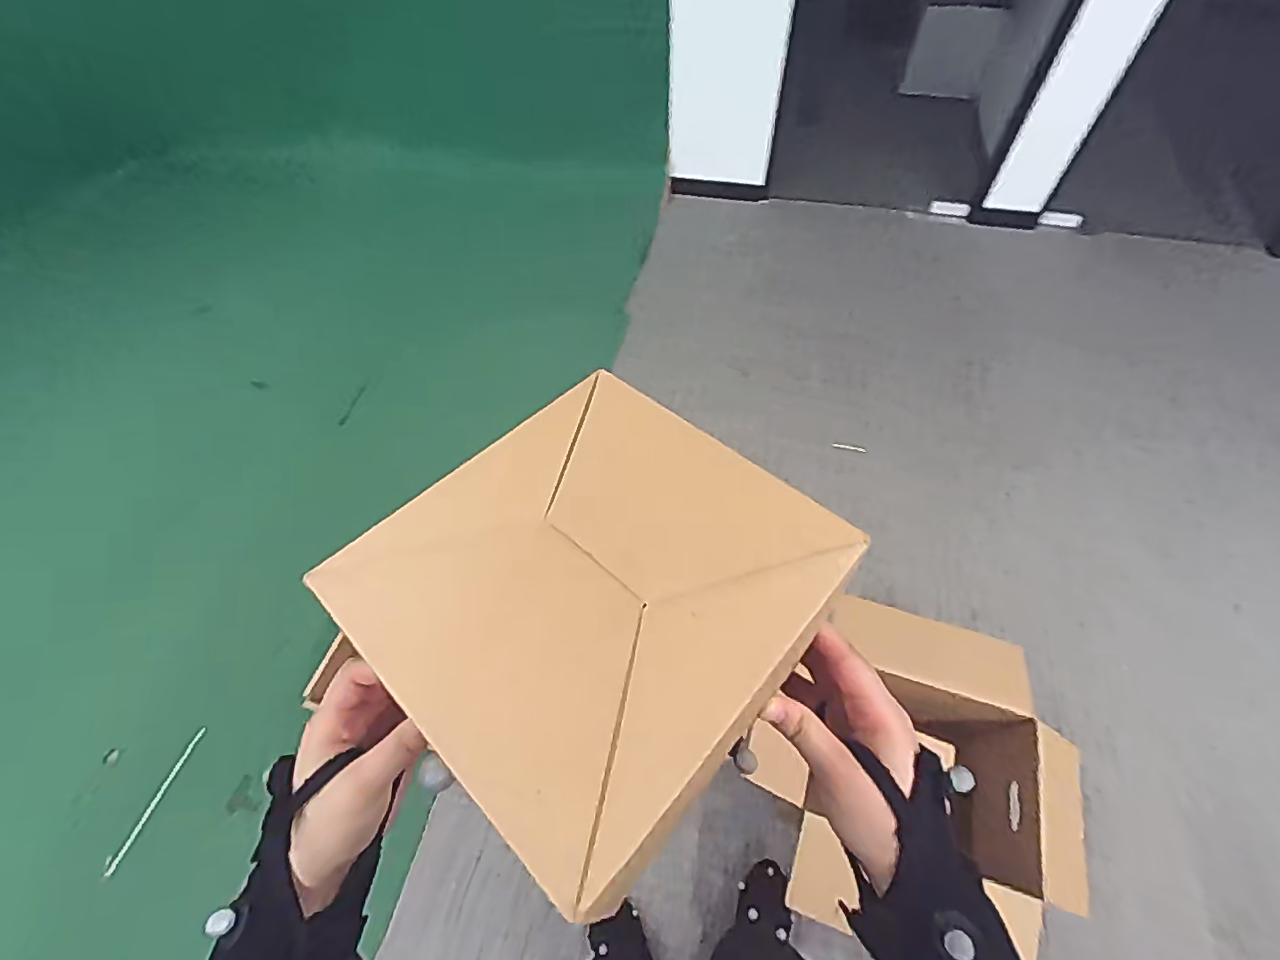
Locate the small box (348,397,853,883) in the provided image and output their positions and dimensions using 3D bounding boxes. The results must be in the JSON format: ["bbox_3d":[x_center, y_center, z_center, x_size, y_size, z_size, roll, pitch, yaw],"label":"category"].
[{"bbox_3d":[-0.013,0.078,0.297,0.168,0.176,0.179,35,59,25],"label":"small box"}]

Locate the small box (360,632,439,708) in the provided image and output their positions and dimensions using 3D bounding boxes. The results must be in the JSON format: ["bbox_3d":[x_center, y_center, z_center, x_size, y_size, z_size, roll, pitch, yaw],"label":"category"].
[{"bbox_3d":[-0.537,0.428,1.330,0.168,0.176,0.179,26,60,17],"label":"small box"}]
